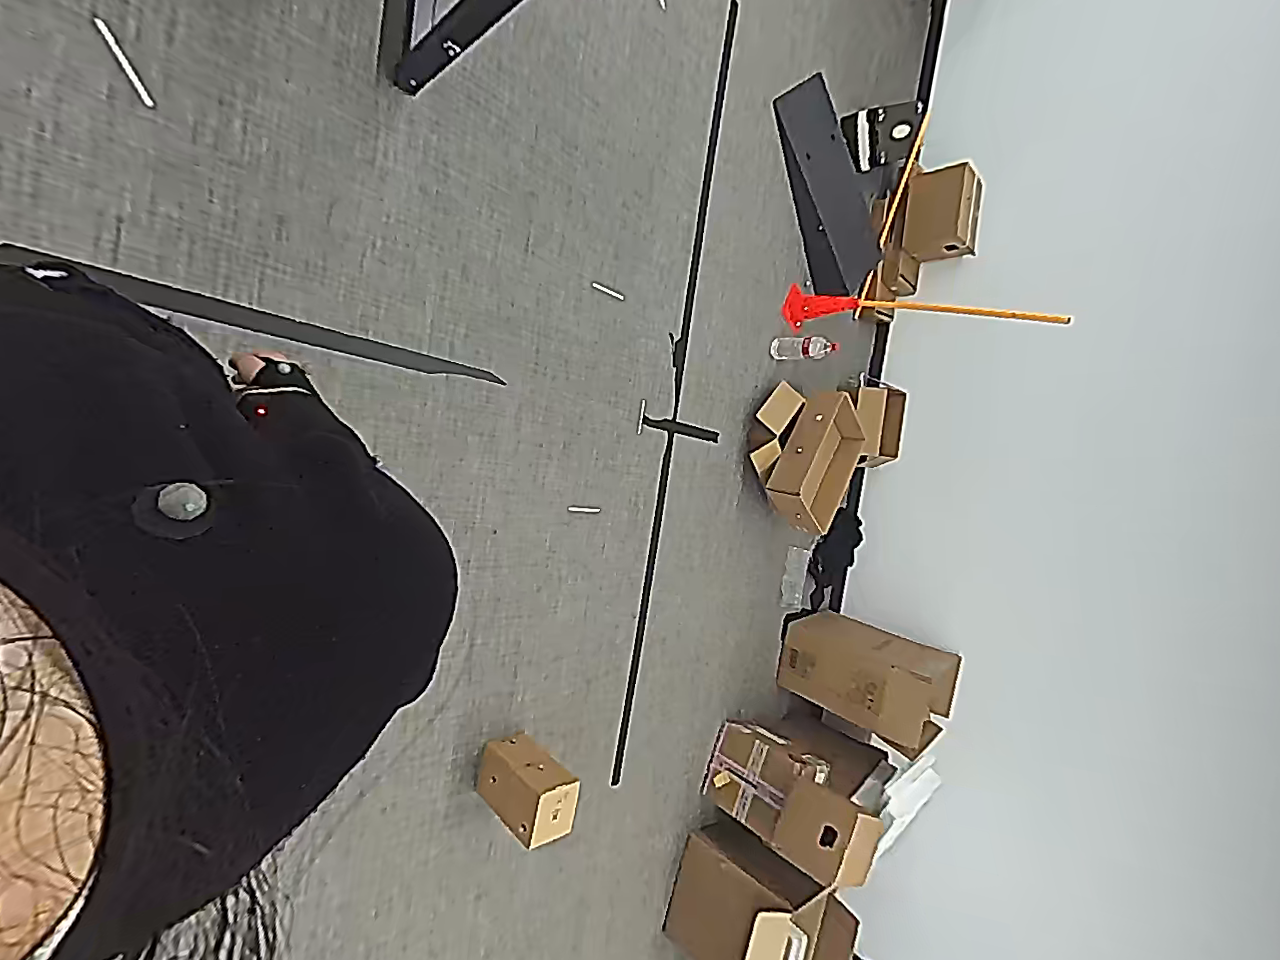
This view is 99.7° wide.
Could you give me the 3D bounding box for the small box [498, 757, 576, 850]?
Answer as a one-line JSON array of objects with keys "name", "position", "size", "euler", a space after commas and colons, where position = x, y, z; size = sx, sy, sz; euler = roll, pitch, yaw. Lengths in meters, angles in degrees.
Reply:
[{"name": "small box", "position": [-0.336, 1.030, 1.737], "size": [0.168, 0.176, 0.179], "euler": [12, 89, -47]}]
